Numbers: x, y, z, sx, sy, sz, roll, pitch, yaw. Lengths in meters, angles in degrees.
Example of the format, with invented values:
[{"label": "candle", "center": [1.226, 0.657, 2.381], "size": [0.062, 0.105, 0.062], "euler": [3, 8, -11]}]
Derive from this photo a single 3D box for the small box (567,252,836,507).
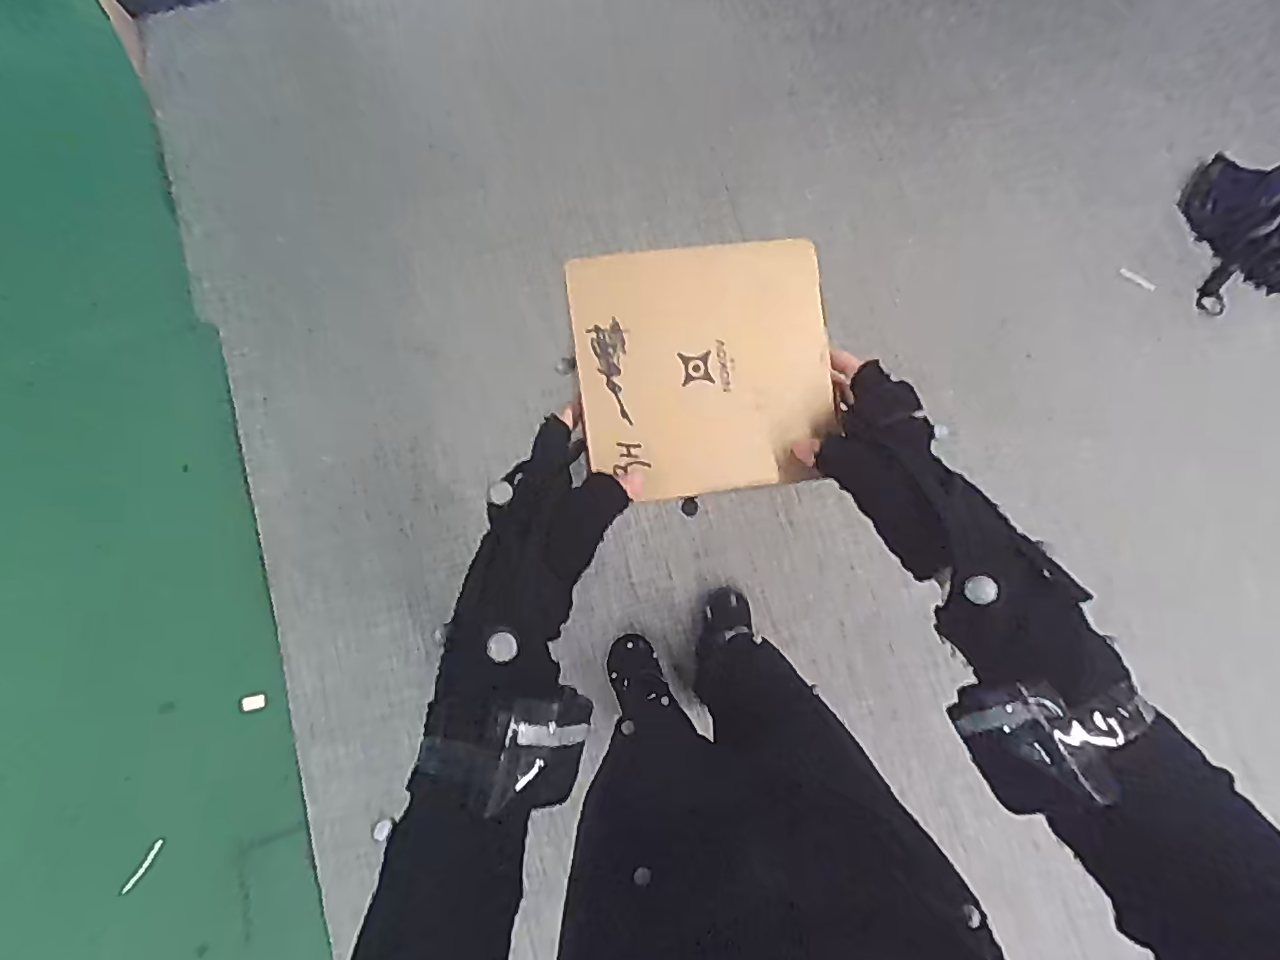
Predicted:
[{"label": "small box", "center": [0.034, -0.069, 0.452], "size": [0.179, 0.176, 0.168], "euler": [-7, 87, -7]}]
